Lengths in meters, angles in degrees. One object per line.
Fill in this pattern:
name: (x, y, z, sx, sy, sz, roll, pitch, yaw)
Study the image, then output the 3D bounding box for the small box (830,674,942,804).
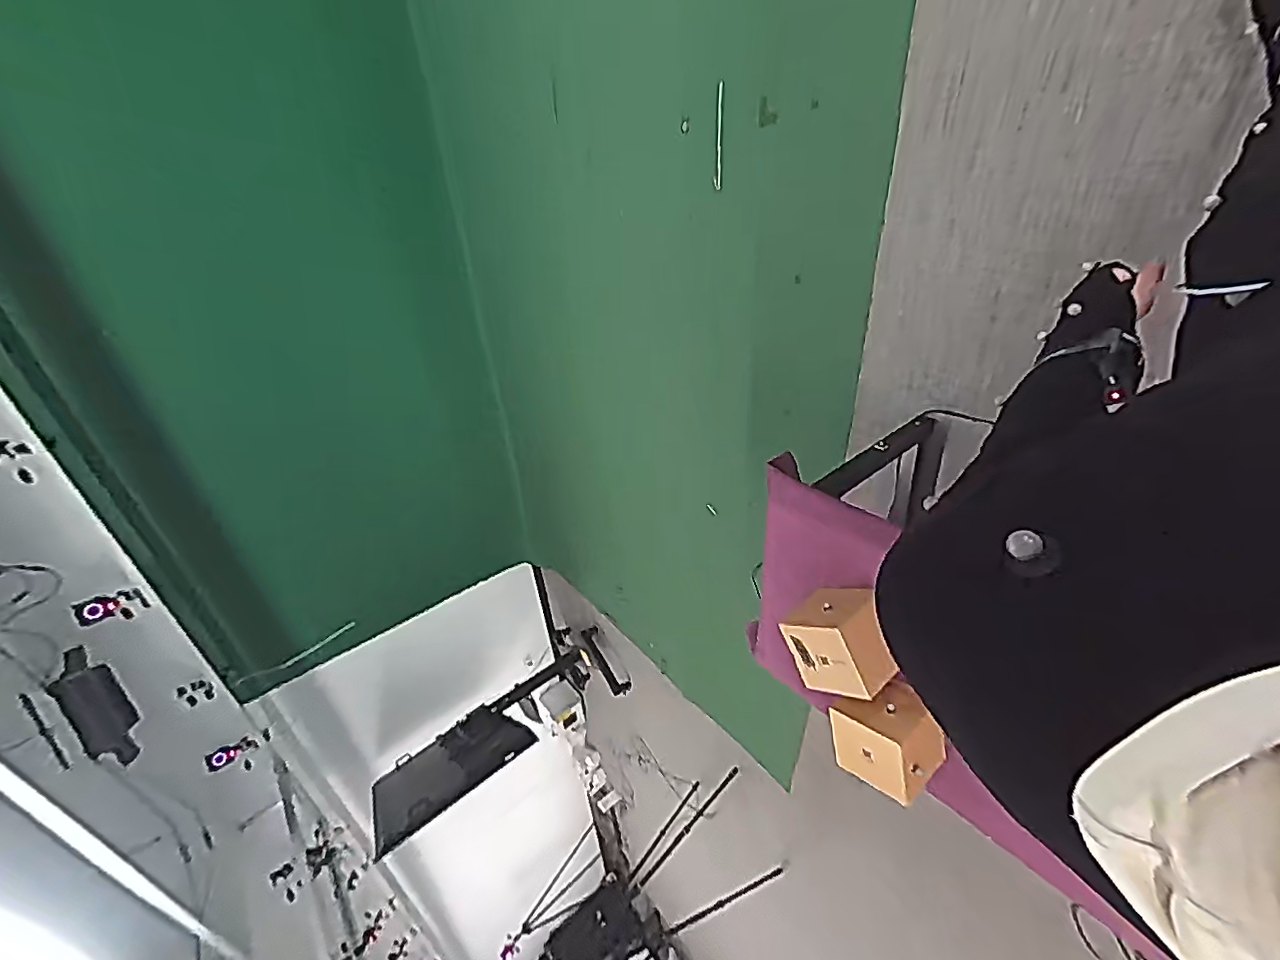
small box: (0.550, 0.558, 1.206, 0.168, 0.176, 0.179, 12, 123, 52)

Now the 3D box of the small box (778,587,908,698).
small box: (0.448, 0.349, 1.195, 0.179, 0.176, 0.168, -20, 97, 58)
